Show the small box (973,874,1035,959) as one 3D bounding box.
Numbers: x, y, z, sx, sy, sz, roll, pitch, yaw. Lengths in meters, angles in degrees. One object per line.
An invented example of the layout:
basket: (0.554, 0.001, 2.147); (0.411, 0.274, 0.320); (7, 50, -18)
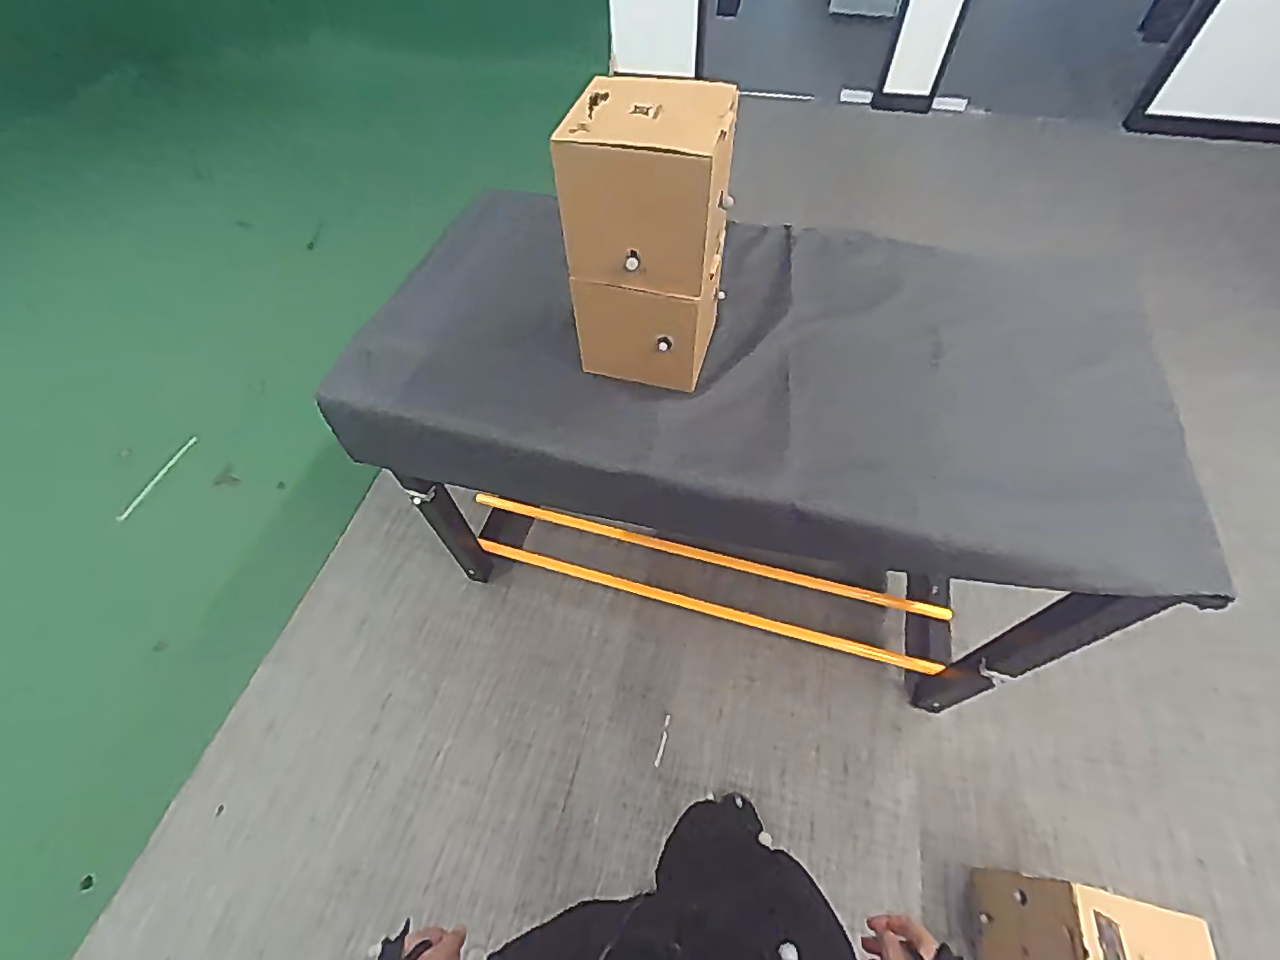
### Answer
small box: (0.712, 0.806, 0.938); (0.179, 0.176, 0.168); (13, 57, 10)

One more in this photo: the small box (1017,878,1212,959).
small box: (0.695, 0.714, 0.802); (0.179, 0.176, 0.168); (12, 57, 9)

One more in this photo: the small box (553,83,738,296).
small box: (0.011, -0.352, 0.667); (0.179, 0.176, 0.168); (12, 56, 9)

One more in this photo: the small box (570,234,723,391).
small box: (0.014, -0.253, 0.798); (0.179, 0.176, 0.168); (12, 56, 10)
